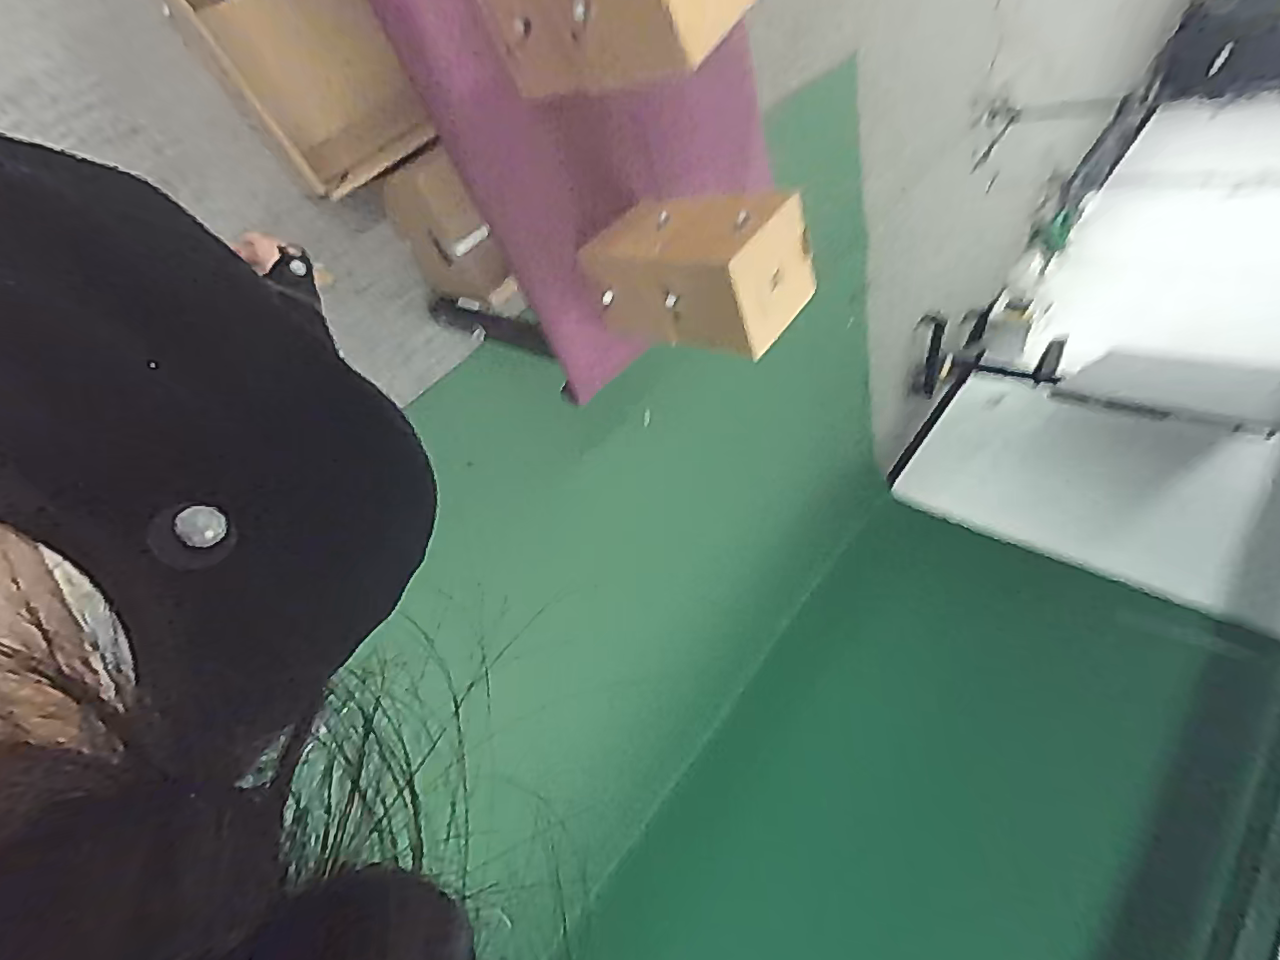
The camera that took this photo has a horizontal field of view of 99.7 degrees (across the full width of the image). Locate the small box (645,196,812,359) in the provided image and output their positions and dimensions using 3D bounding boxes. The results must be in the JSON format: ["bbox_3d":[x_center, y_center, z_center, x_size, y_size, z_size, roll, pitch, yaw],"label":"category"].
[{"bbox_3d":[0.139,-0.316,0.837,0.179,0.176,0.168,-48,136,-19],"label":"small box"}]

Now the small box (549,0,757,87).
[{"bbox_3d":[0.012,-0.562,0.574,0.179,0.176,0.168,-53,138,-13],"label":"small box"}]

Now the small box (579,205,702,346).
[{"bbox_3d":[0.027,-0.363,0.945,0.179,0.176,0.168,-46,136,-21],"label":"small box"}]
